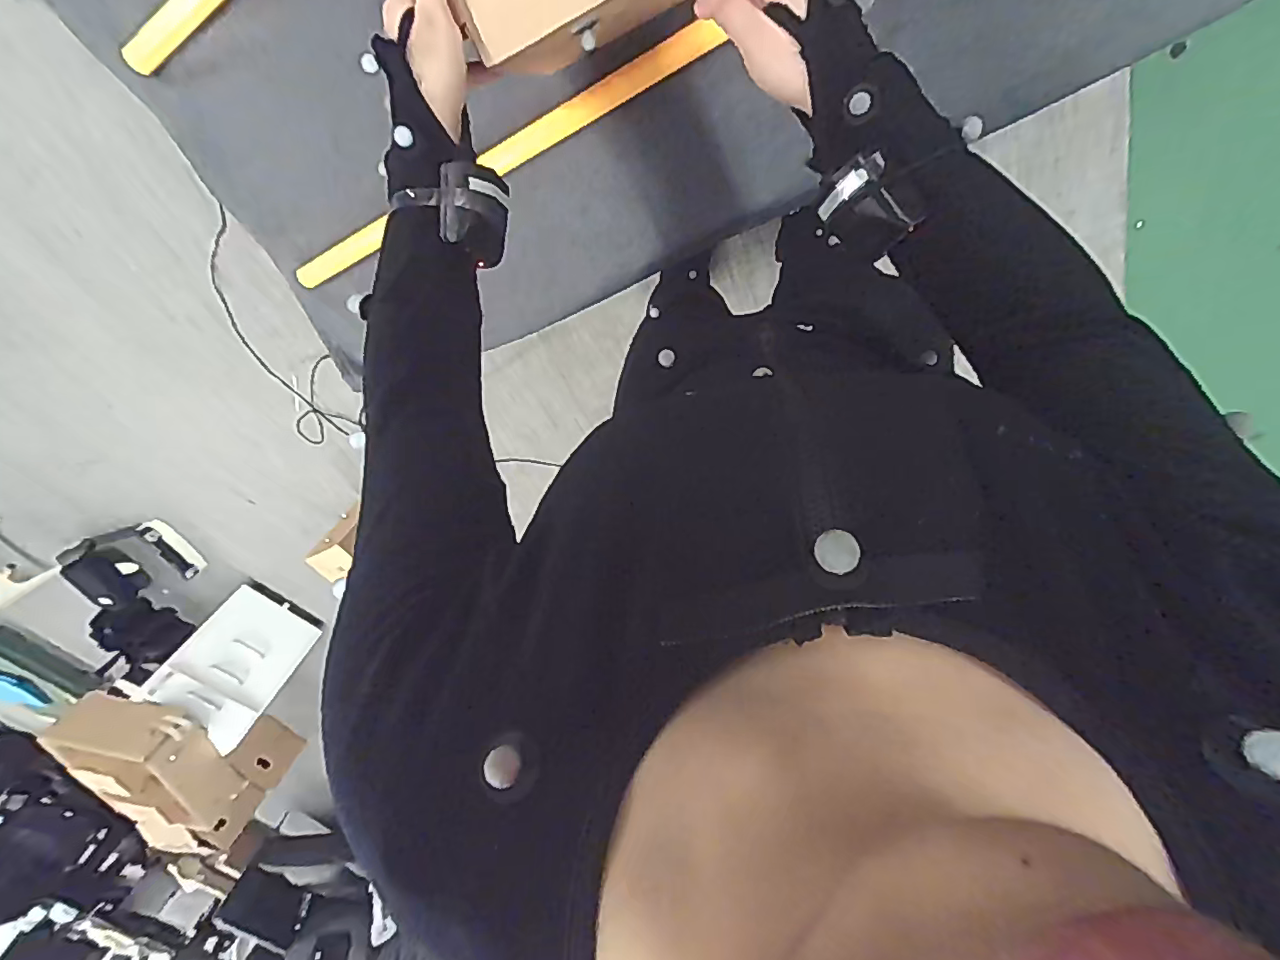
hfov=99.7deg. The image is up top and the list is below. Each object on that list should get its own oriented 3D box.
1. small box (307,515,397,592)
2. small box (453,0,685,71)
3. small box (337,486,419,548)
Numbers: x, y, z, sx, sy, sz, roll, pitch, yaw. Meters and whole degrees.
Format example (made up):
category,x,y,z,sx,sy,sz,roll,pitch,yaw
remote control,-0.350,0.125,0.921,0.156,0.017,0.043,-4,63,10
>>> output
category,x,y,z,sx,sy,sz,roll,pitch,yaw
small box,-0.944,0.240,1.796,0.179,0.176,0.168,-21,120,25
small box,-0.056,-0.437,0.406,0.179,0.176,0.168,-14,123,20
small box,-0.924,0.148,1.932,0.179,0.176,0.168,-20,121,24
